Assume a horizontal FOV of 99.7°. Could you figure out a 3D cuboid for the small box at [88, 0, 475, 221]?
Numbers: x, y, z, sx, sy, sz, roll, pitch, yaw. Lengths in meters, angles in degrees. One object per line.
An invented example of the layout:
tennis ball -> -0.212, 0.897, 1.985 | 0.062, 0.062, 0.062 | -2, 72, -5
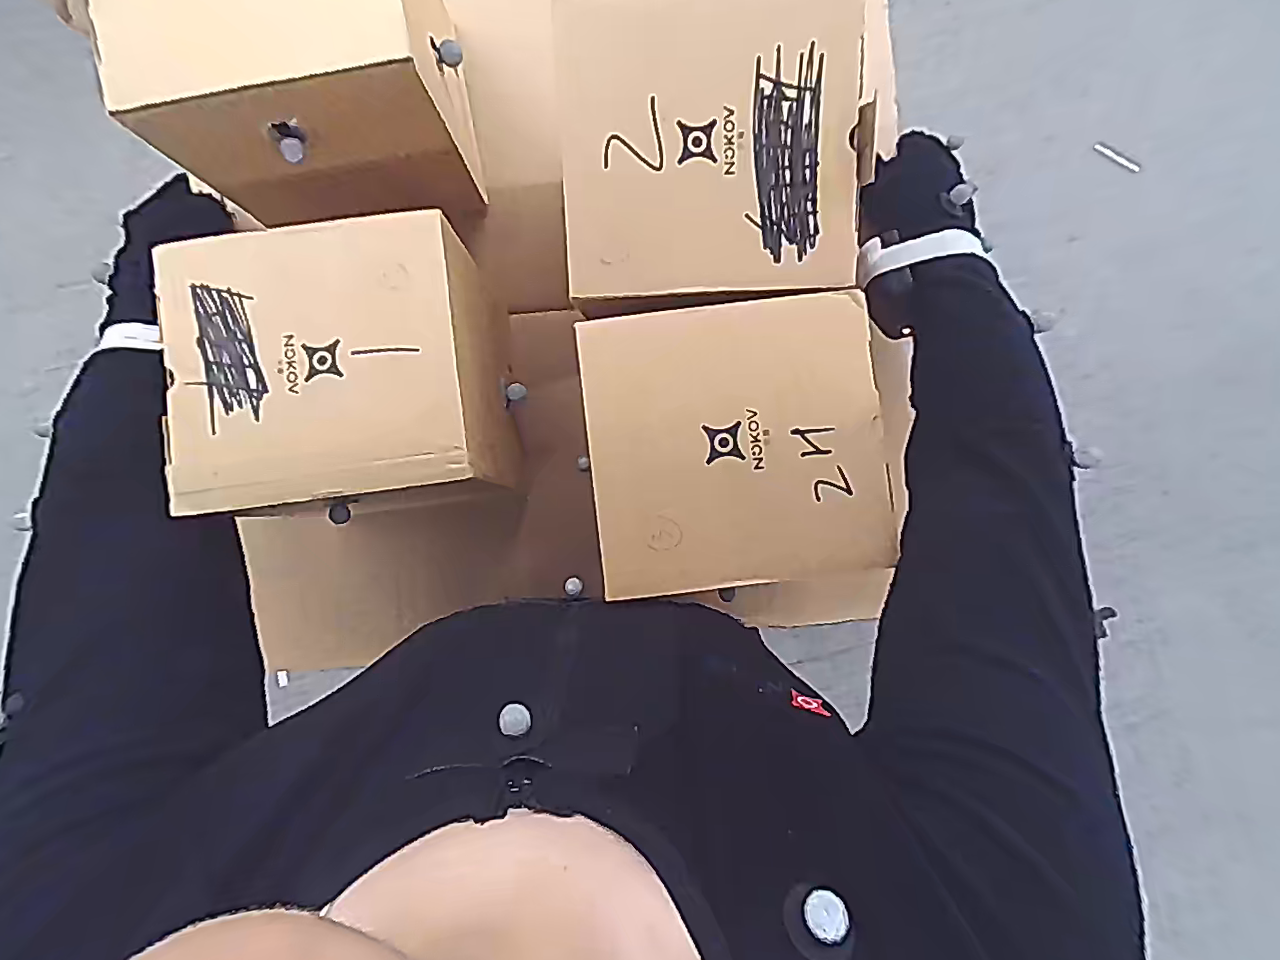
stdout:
small box -> -0.229, -0.312, 0.382 | 0.179, 0.176, 0.168 | -10, 90, 1
